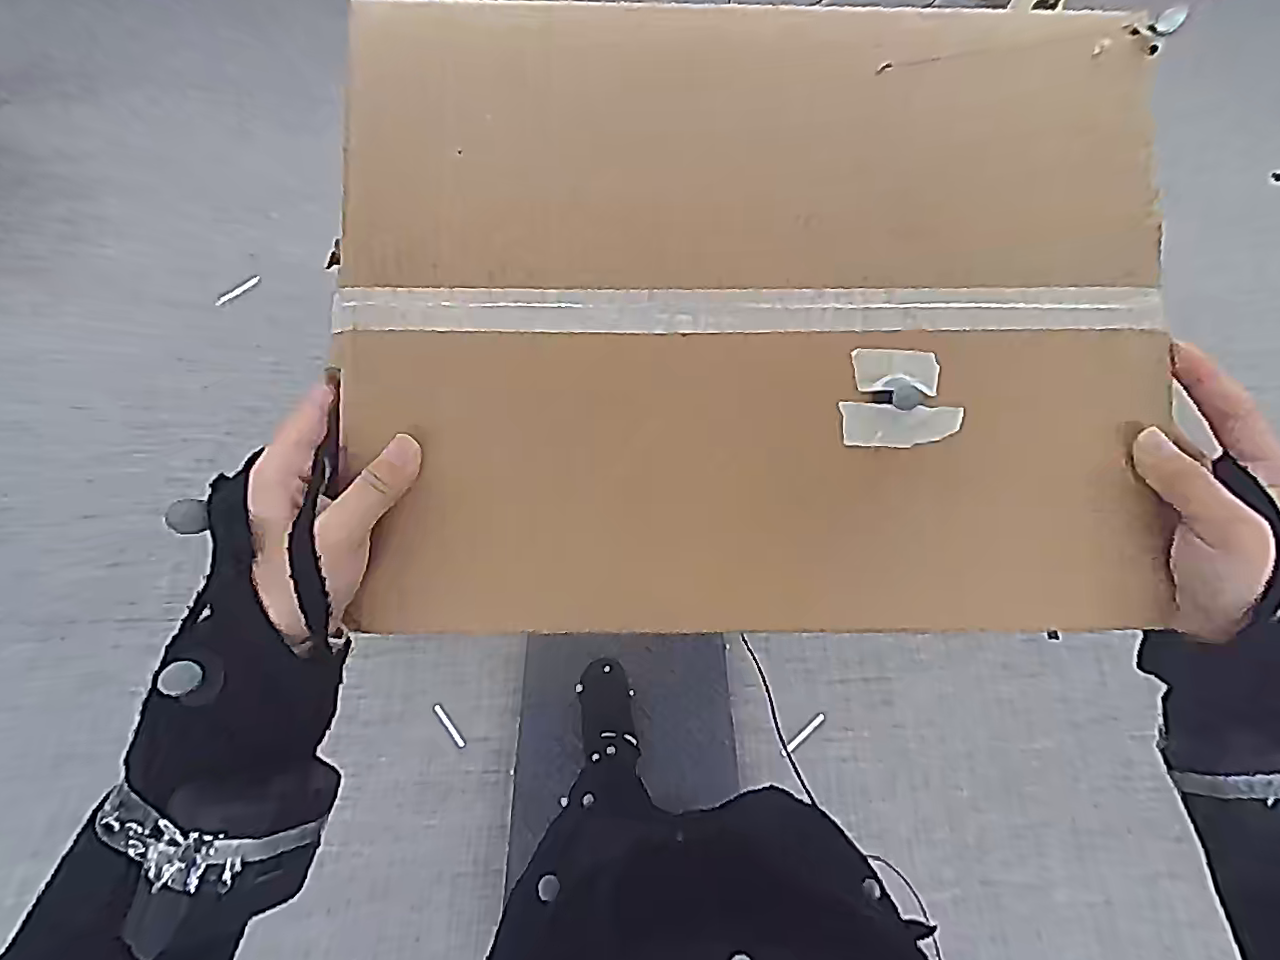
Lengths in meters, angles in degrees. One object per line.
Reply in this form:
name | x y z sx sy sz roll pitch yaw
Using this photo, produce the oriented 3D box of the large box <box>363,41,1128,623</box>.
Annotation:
large box | 0.051 -0.077 0.433 0.408 0.320 0.320 0 88 -1
